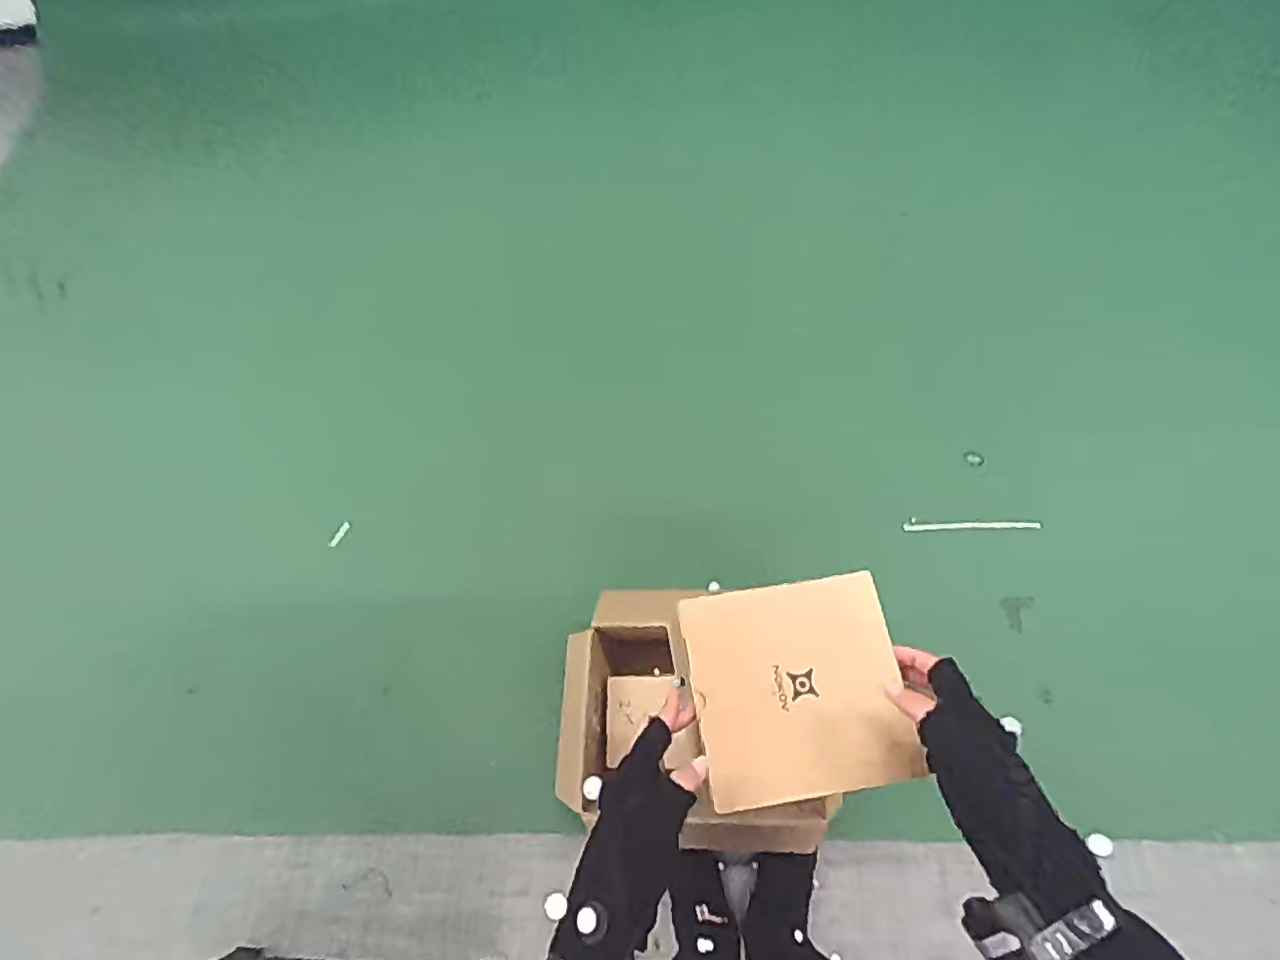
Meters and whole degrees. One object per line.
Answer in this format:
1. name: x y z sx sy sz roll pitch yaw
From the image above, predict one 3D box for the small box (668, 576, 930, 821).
1. small box: 0.127 0.195 0.510 0.179 0.176 0.168 -9 71 -2
